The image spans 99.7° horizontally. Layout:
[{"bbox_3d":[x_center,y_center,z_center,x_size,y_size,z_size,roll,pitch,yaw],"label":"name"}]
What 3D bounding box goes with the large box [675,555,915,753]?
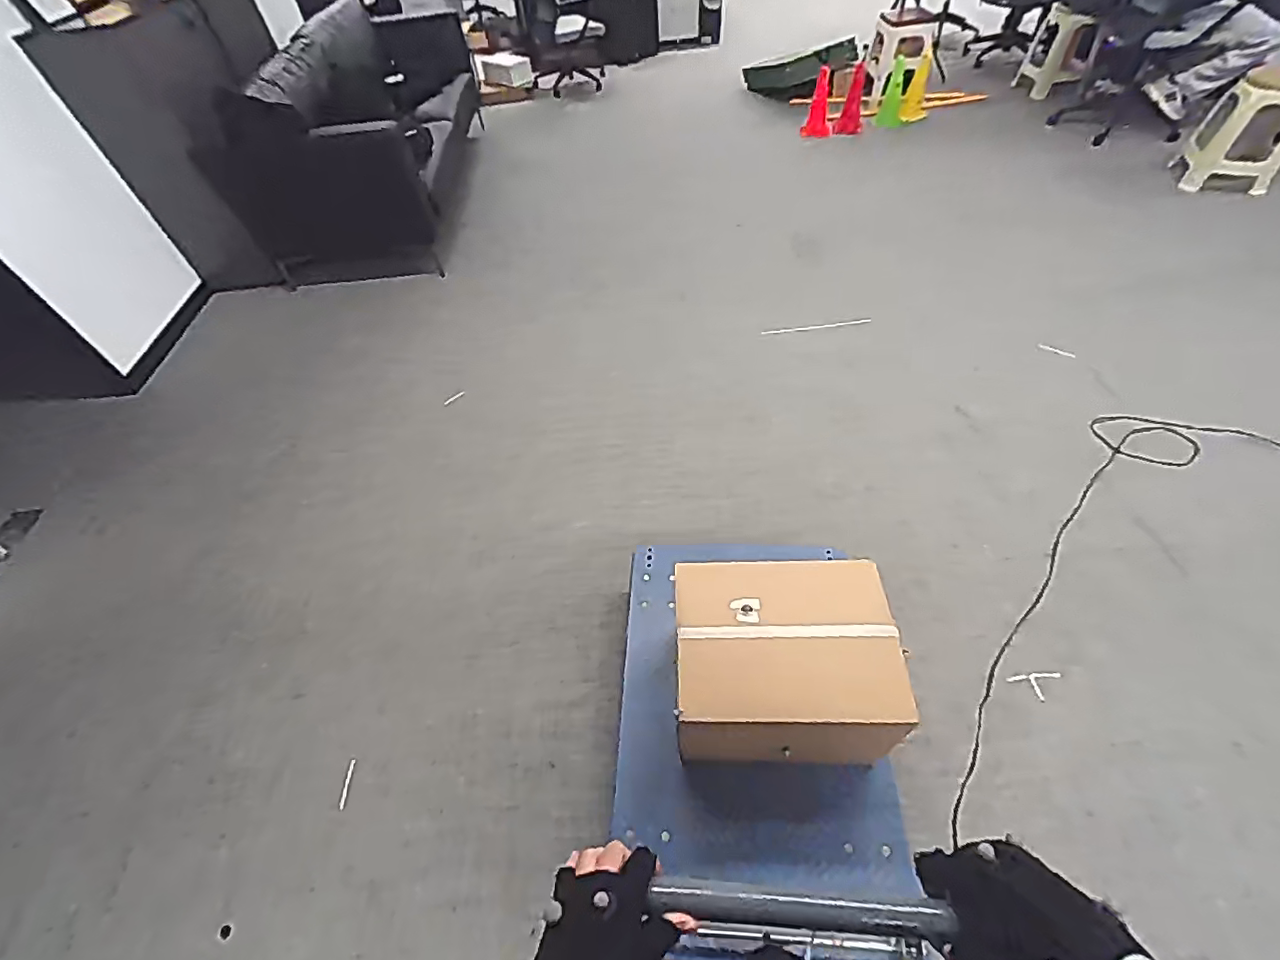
[{"bbox_3d":[0.289,0.377,1.142,0.408,0.320,0.320,-4,51,5],"label":"large box"}]
